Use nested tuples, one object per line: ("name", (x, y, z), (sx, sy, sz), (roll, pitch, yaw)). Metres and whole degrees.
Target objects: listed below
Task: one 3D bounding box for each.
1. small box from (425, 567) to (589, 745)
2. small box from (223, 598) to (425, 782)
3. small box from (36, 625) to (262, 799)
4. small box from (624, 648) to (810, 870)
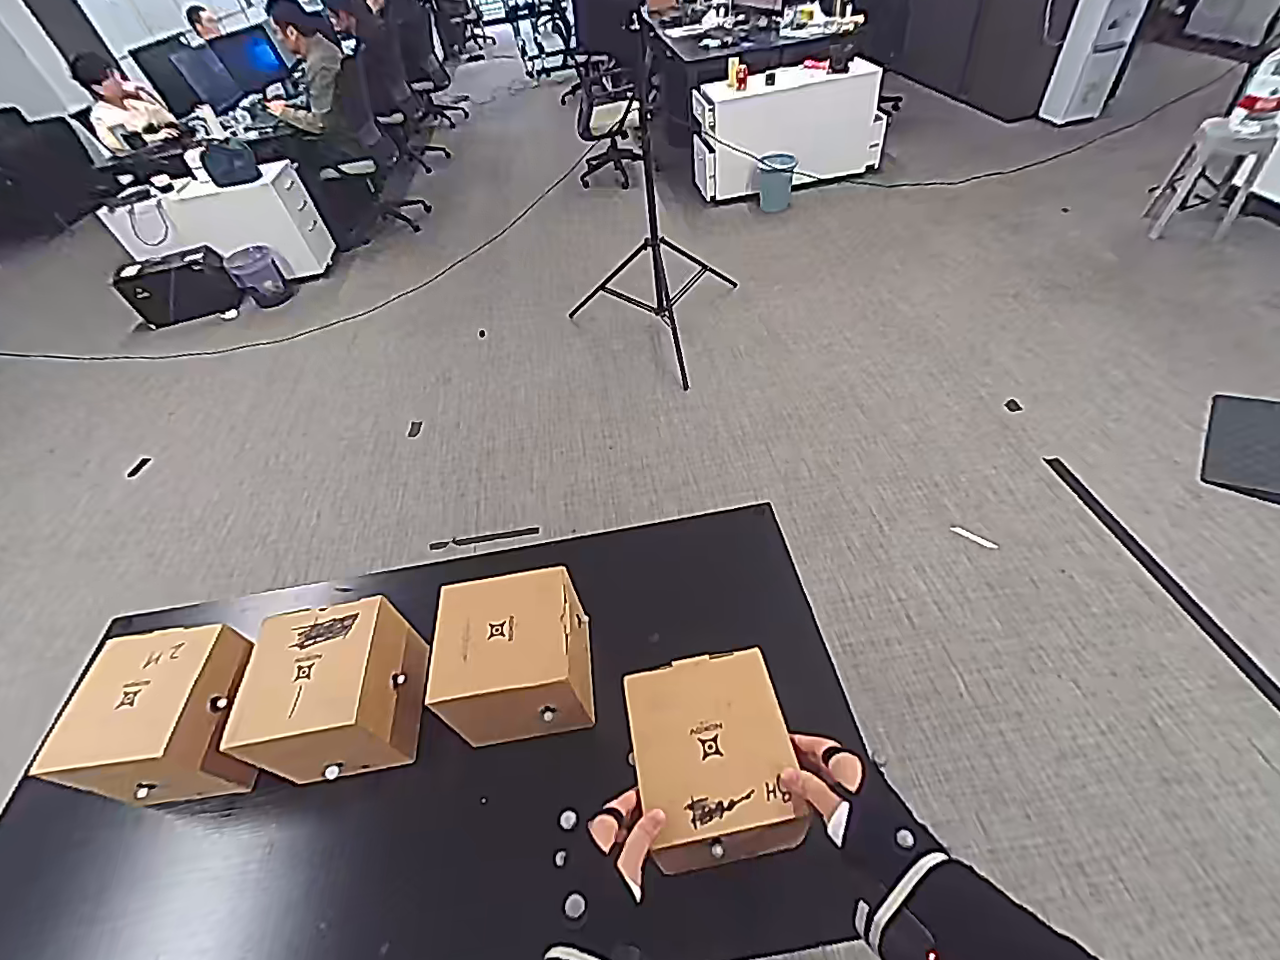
("small box", (-0.170, 0.248, 0.753), (0.179, 0.176, 0.168), (-11, 46, 1))
("small box", (-0.415, 0.292, 0.750), (0.168, 0.176, 0.179), (-11, 49, -1))
("small box", (-0.636, 0.328, 0.754), (0.168, 0.176, 0.179), (-8, 47, 1))
("small box", (0.082, 0.328, 0.635), (0.168, 0.176, 0.179), (-12, 47, -1))
